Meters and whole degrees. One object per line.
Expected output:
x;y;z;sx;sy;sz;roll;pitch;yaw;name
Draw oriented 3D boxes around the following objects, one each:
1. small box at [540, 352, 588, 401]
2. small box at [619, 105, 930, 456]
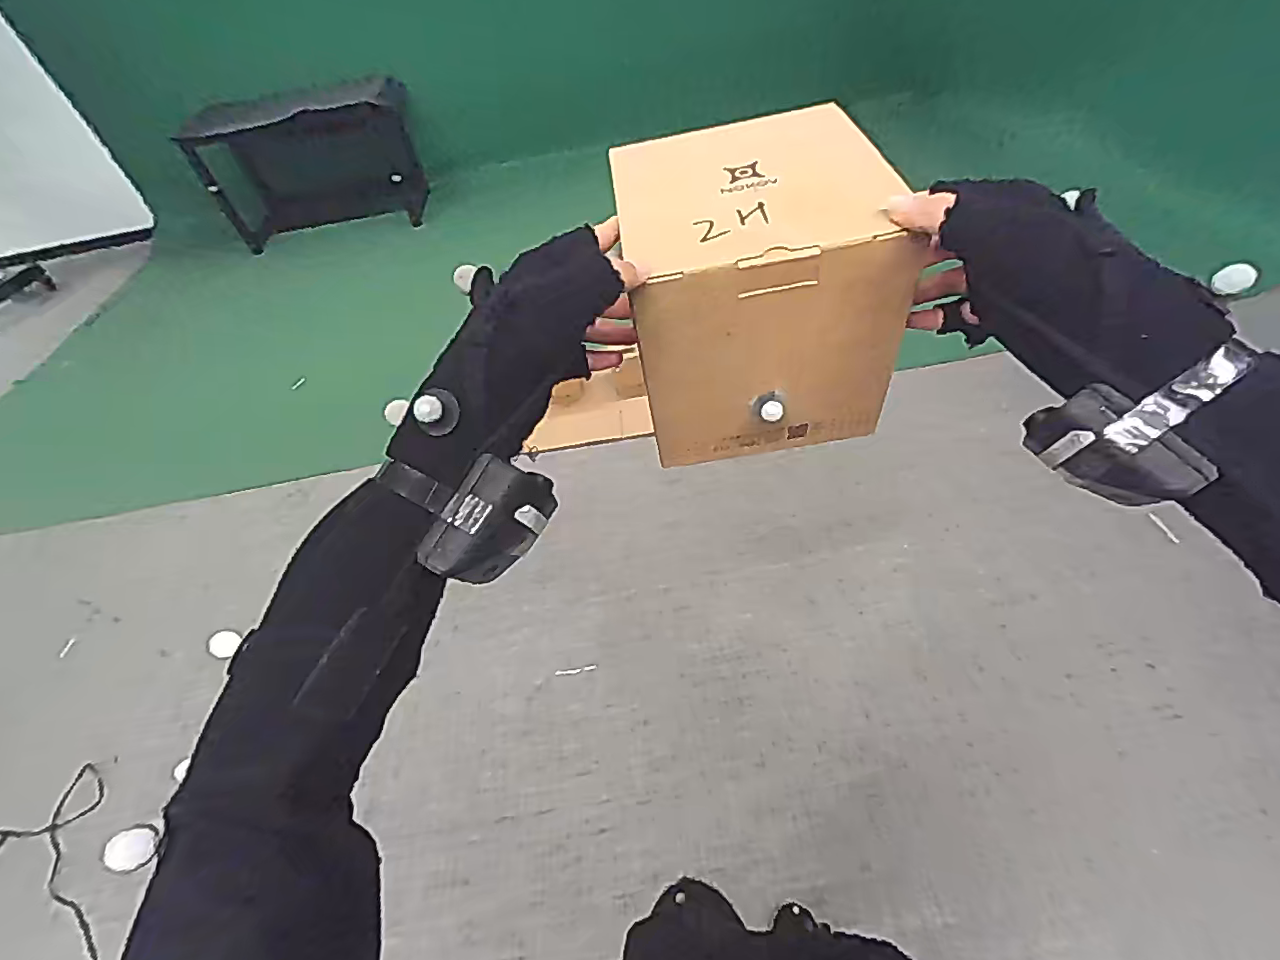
-0.316;-0.449;2.286;0.168;0.176;0.179;-8;47;4;small box
0.081;-0.144;0.408;0.168;0.176;0.179;-10;52;5;small box
